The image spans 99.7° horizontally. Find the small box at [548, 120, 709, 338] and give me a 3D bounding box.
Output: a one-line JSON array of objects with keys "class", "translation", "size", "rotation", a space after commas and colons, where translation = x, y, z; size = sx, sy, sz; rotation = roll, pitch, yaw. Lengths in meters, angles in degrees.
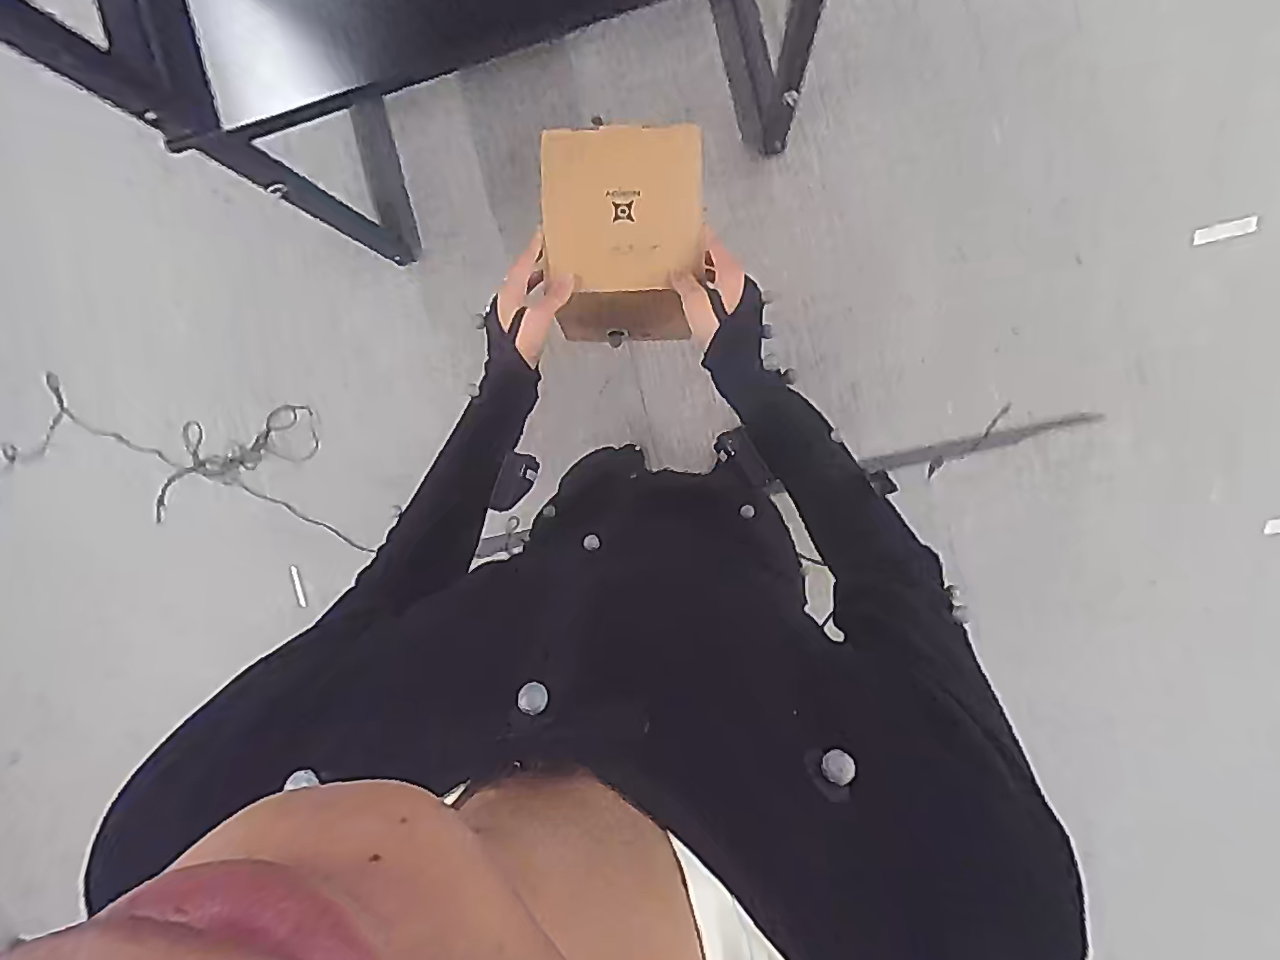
[{"class": "small box", "translation": [-0.012, -0.277, 0.628], "size": [0.168, 0.176, 0.179], "rotation": [-1, 87, 1]}]

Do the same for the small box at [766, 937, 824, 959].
[{"class": "small box", "translation": [0.485, 1.547, 1.648], "size": [0.179, 0.176, 0.168], "rotation": [-10, 94, 7]}]
